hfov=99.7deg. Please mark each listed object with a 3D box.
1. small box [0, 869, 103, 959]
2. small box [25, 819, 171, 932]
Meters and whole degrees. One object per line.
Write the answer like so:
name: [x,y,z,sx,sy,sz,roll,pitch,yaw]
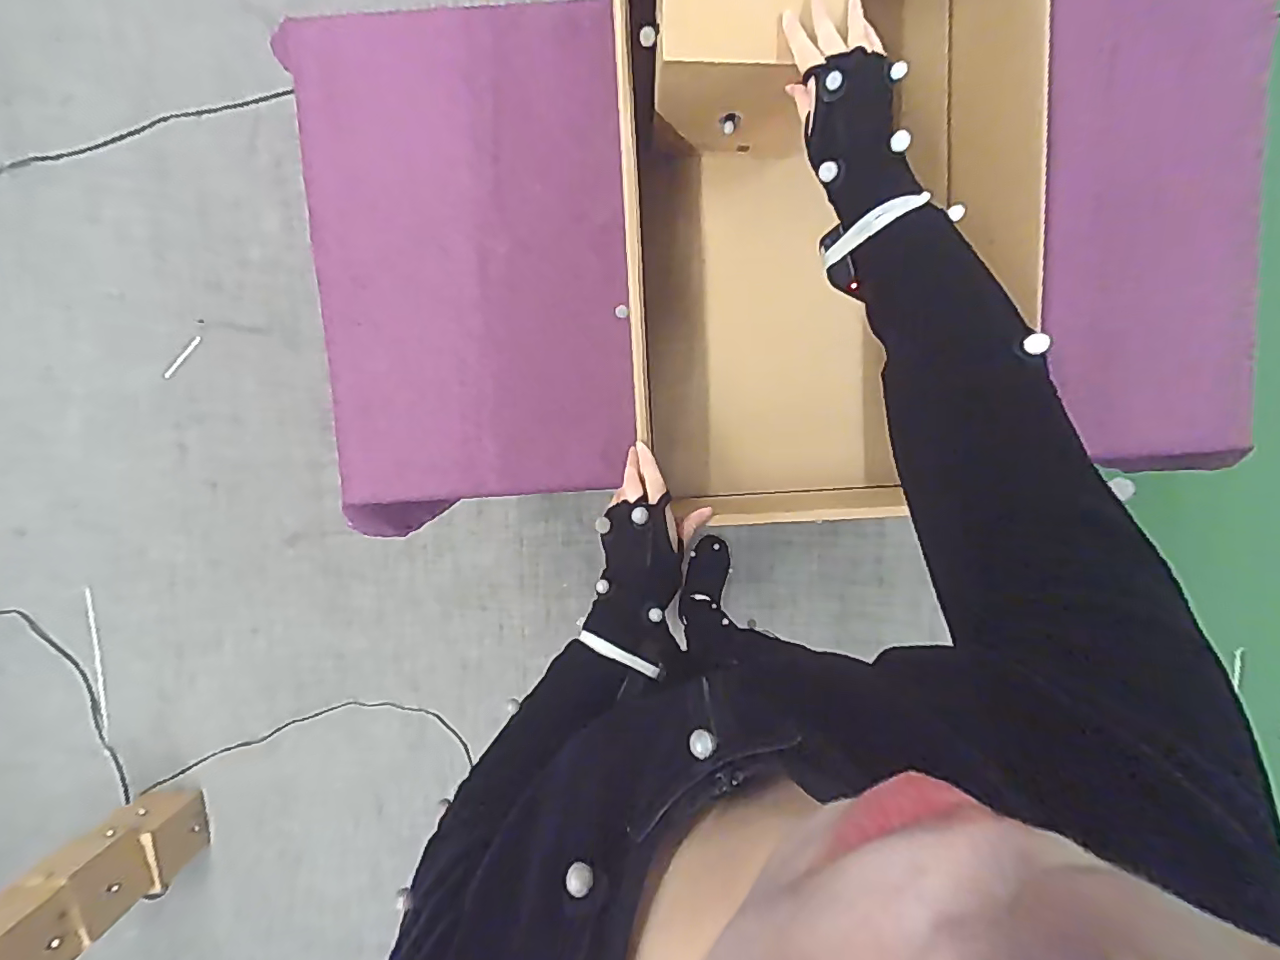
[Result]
small box: [-1.345,0.993,1.174,0.179,0.176,0.168,-10,95,2]
small box: [-1.327,0.973,1.335,0.168,0.176,0.179,-14,96,3]
